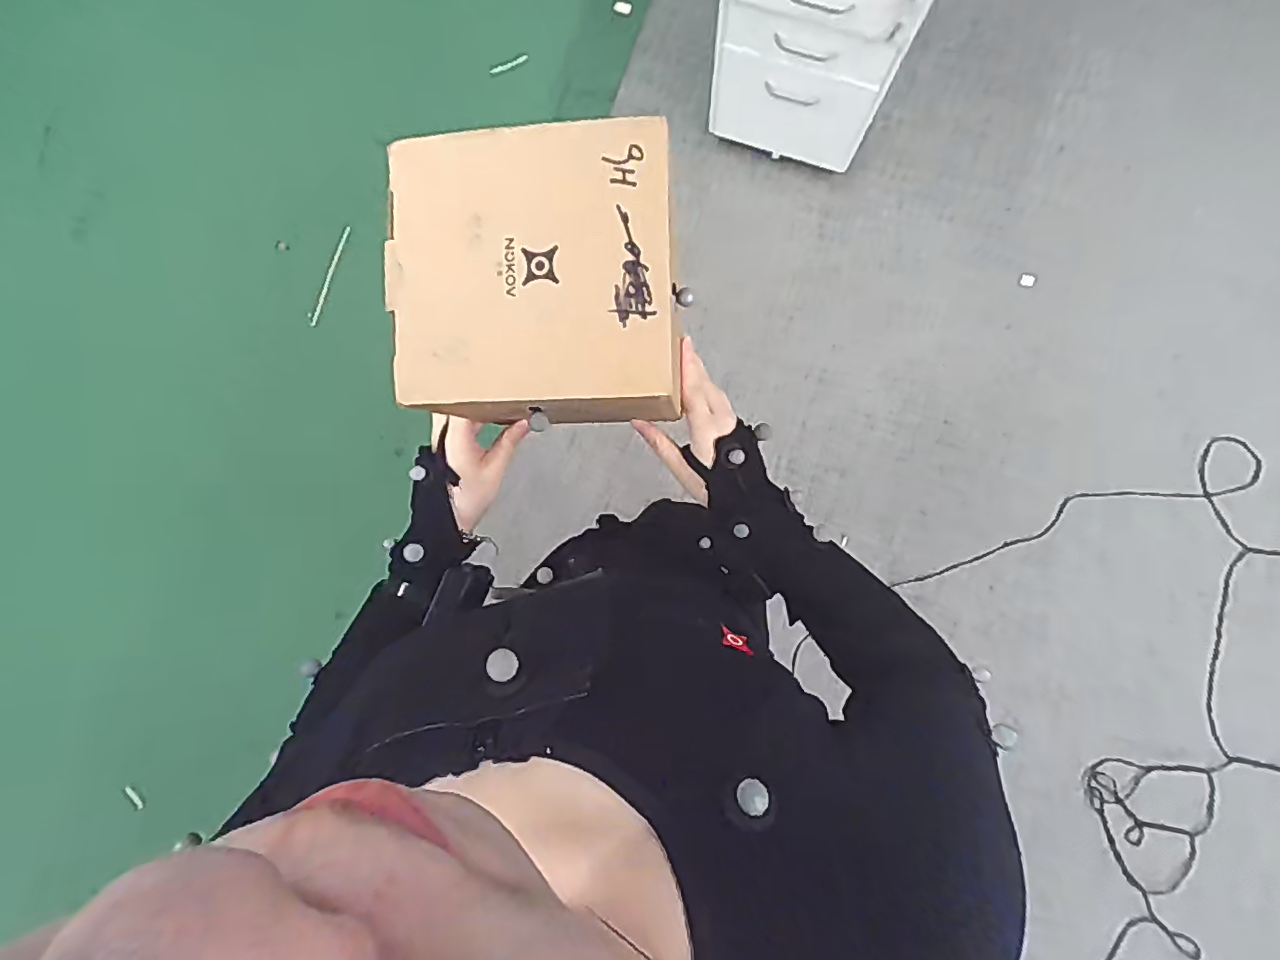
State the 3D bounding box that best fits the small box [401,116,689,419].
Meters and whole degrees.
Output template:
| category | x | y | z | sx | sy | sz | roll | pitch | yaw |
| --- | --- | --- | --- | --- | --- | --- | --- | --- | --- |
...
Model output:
| category | x | y | z | sx | sy | sz | roll | pitch | yaw |
| --- | --- | --- | --- | --- | --- | --- | --- | --- | --- |
| small box | -0.054 | -0.135 | 0.410 | 0.179 | 0.176 | 0.168 | 0 | 92 | 7 |
